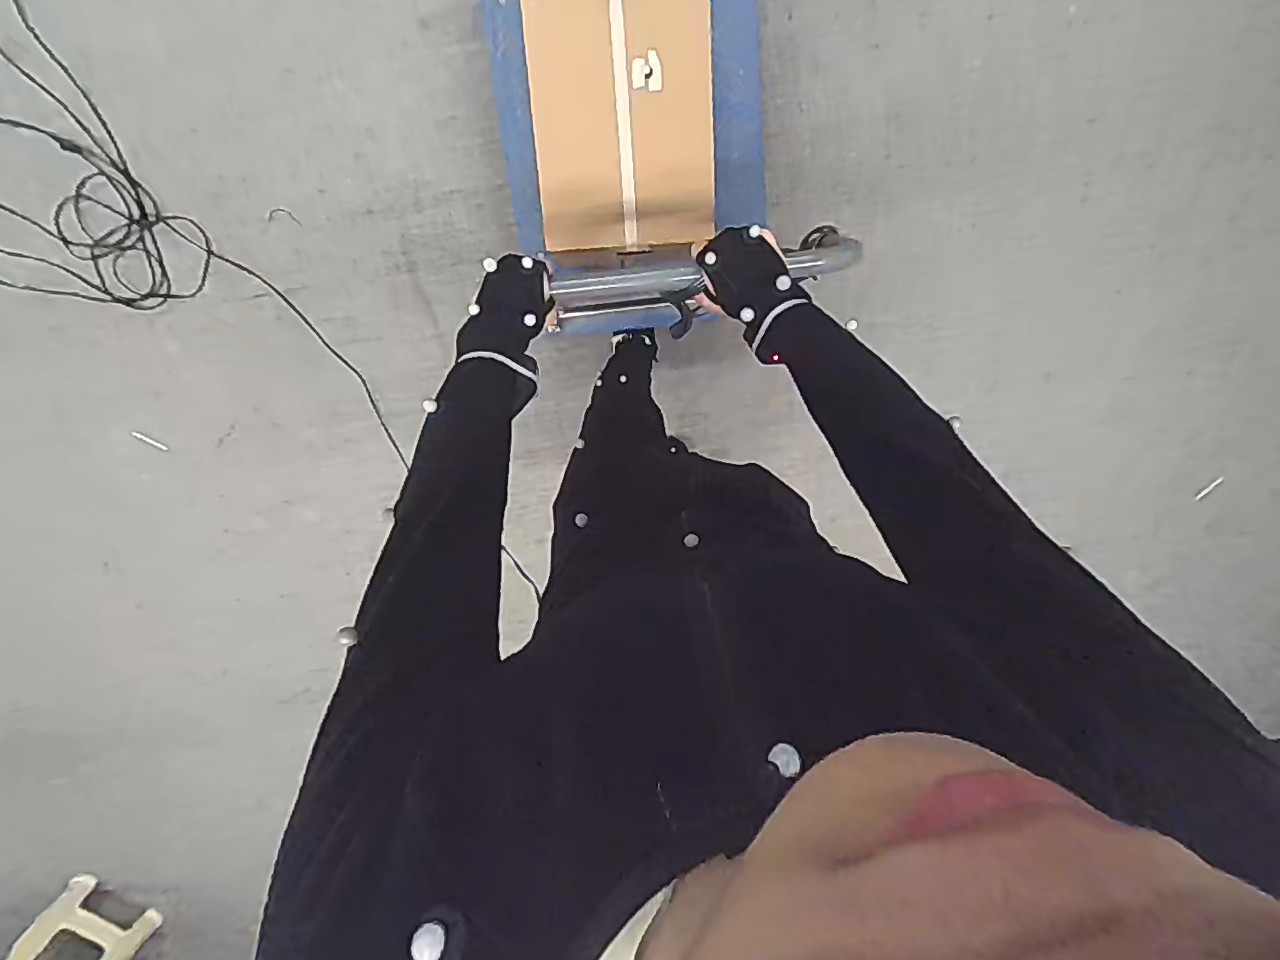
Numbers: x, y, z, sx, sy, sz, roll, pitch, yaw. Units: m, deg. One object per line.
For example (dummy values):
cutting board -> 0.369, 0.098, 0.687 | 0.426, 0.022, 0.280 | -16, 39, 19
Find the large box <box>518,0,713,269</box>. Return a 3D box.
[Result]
large box -> -0.034, -0.661, 1.084 | 0.320, 0.320, 0.408 | -4, 106, 0
